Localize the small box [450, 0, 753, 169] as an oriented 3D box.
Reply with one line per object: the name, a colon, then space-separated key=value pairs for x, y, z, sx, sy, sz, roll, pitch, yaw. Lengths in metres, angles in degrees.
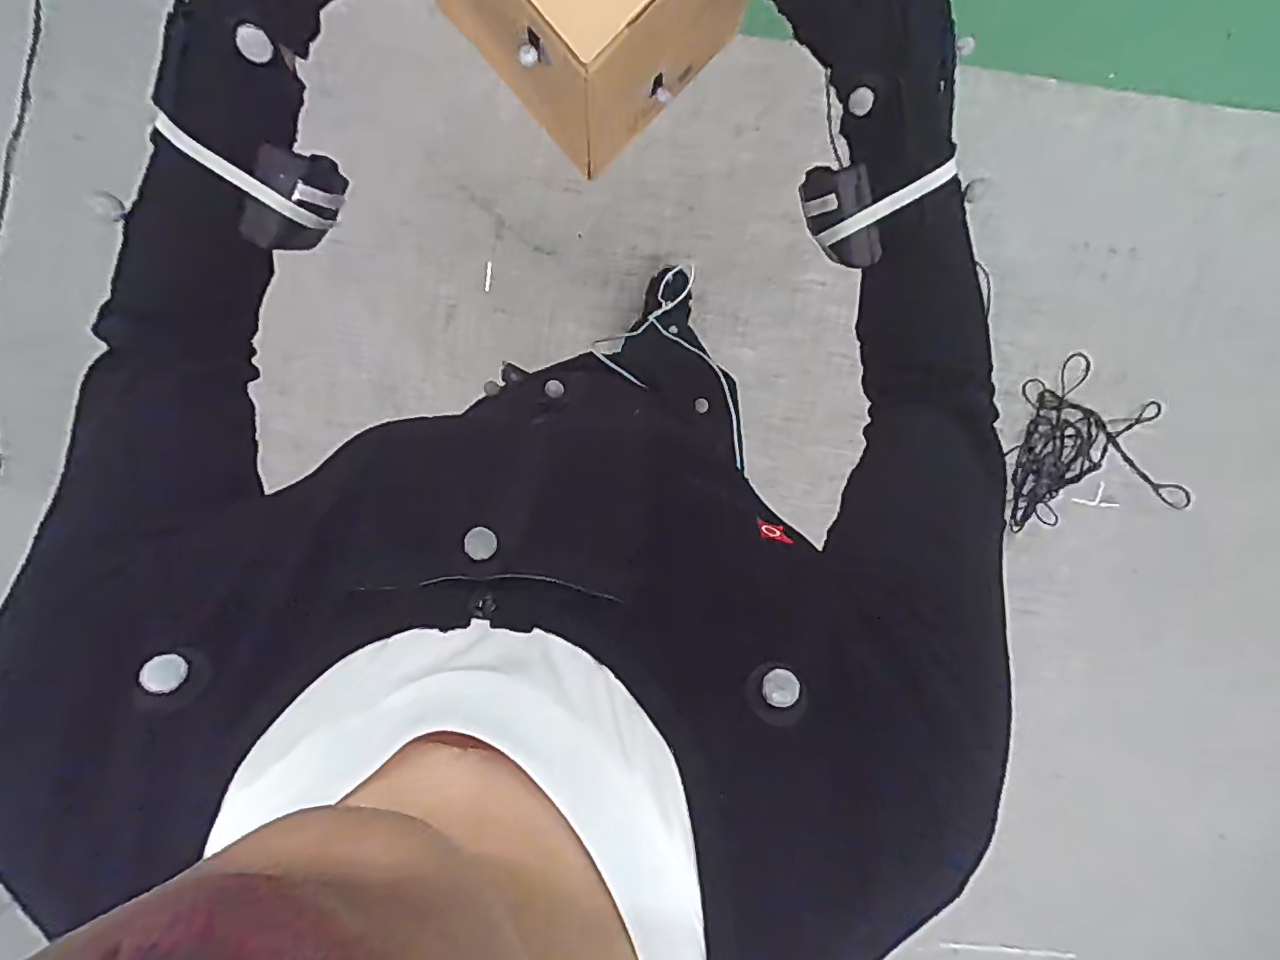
small box: x=-0.030 y=-0.353 z=0.356 sx=0.168 sy=0.176 sz=0.179 roll=-43 pitch=101 yaw=4
